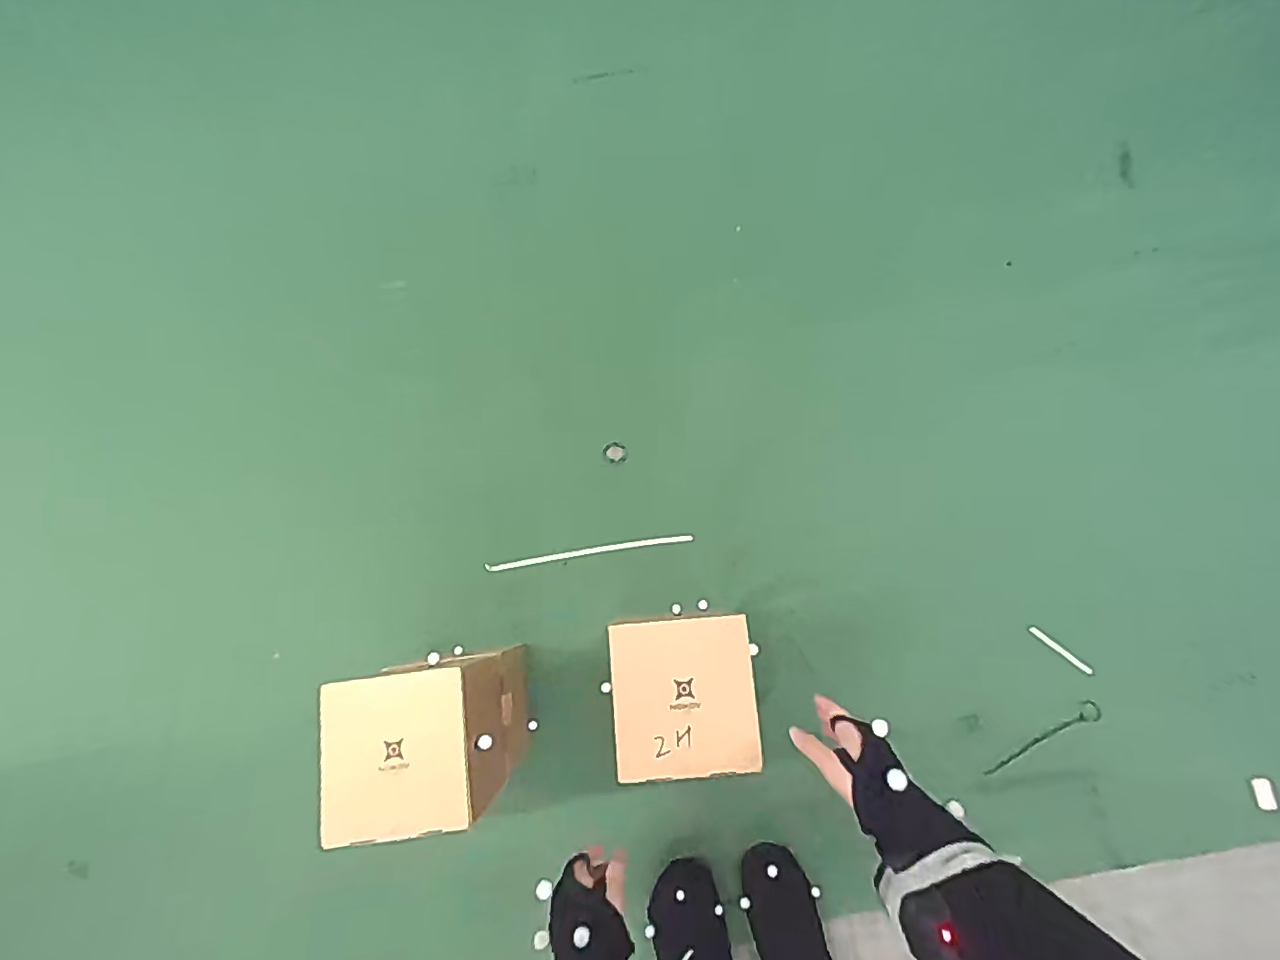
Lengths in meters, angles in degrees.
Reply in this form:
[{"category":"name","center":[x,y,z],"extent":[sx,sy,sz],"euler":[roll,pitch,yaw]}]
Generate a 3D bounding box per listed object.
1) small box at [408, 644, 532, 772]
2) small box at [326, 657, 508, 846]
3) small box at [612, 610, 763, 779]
[{"category":"small box","center":[-0.274,0.360,0.855],"extent":[0.179,0.176,0.168],"euler":[-8,78,0]},{"category":"small box","center":[-0.275,0.329,0.695],"extent":[0.168,0.176,0.179],"euler":[-8,78,-1]},{"category":"small box","center":[0.052,0.263,0.703],"extent":[0.168,0.176,0.179],"euler":[-5,79,0]}]
